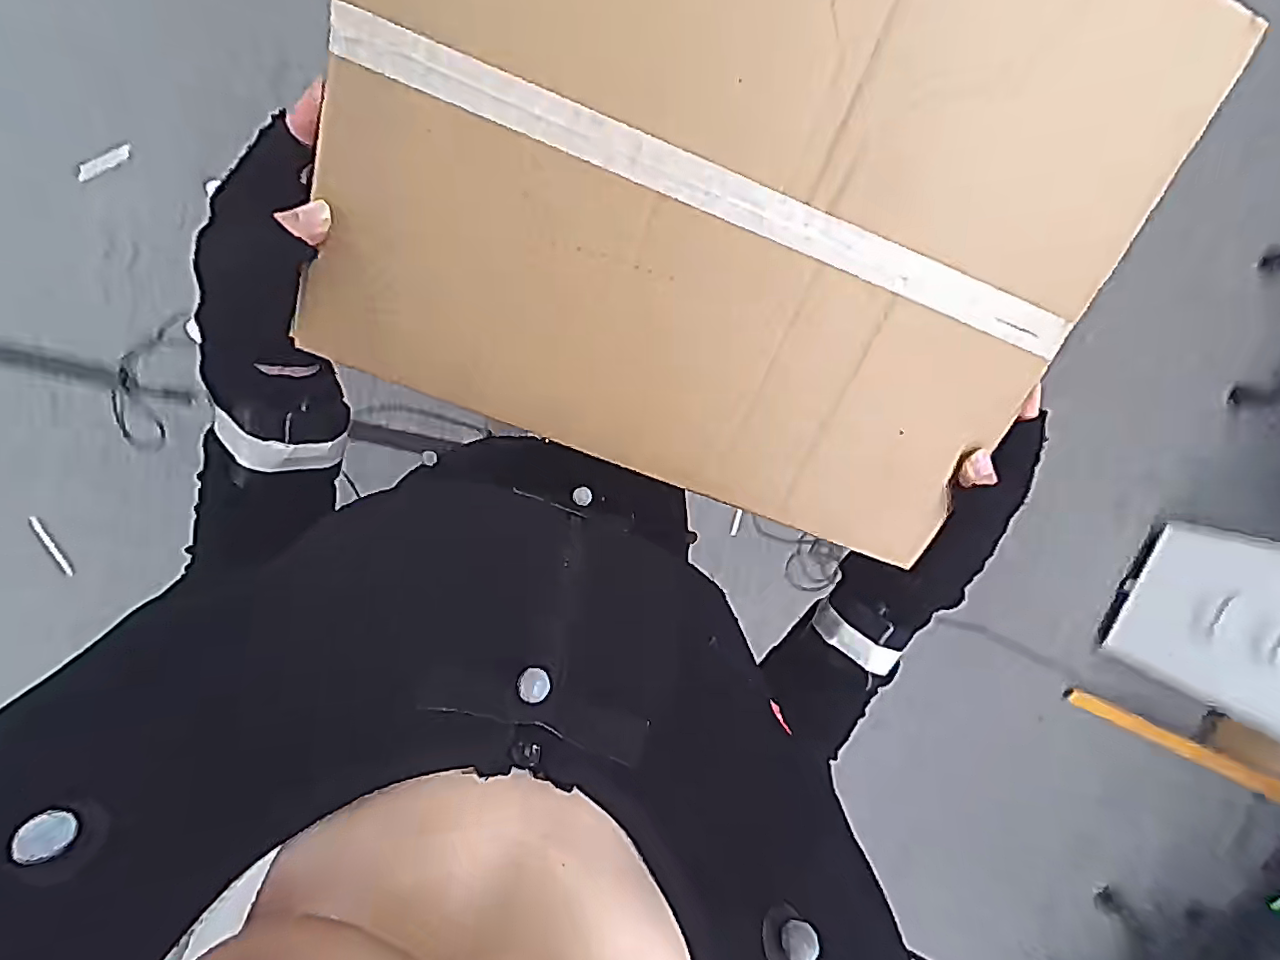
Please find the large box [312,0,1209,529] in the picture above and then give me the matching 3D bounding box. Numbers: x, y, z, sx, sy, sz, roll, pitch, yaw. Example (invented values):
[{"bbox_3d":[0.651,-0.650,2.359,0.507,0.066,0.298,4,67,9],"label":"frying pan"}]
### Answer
[{"bbox_3d":[0.038,-0.212,0.427,0.408,0.320,0.320,18,112,-7],"label":"large box"}]
